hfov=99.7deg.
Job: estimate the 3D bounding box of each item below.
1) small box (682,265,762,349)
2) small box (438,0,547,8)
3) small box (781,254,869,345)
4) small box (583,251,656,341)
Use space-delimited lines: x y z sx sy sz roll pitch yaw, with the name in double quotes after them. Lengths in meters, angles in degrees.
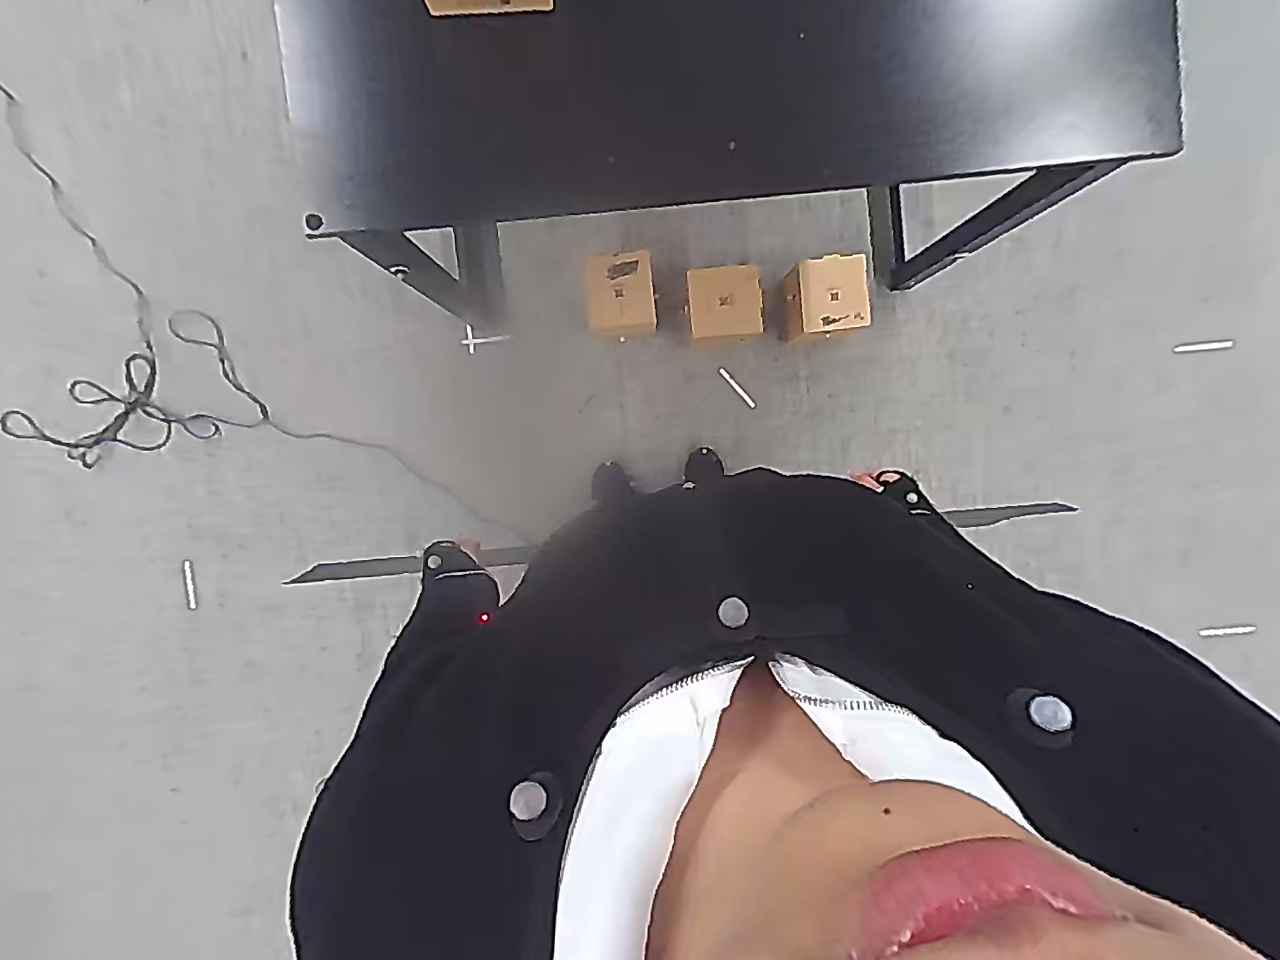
0.205 -0.438 1.390 0.179 0.176 0.168 -5 94 1 "small box"
-0.203 -0.709 0.641 0.168 0.176 0.179 -2 94 0 "small box"
0.467 -0.456 1.386 0.168 0.176 0.179 -6 93 1 "small box"
-0.051 -0.465 1.388 0.168 0.176 0.179 -6 95 1 "small box"
